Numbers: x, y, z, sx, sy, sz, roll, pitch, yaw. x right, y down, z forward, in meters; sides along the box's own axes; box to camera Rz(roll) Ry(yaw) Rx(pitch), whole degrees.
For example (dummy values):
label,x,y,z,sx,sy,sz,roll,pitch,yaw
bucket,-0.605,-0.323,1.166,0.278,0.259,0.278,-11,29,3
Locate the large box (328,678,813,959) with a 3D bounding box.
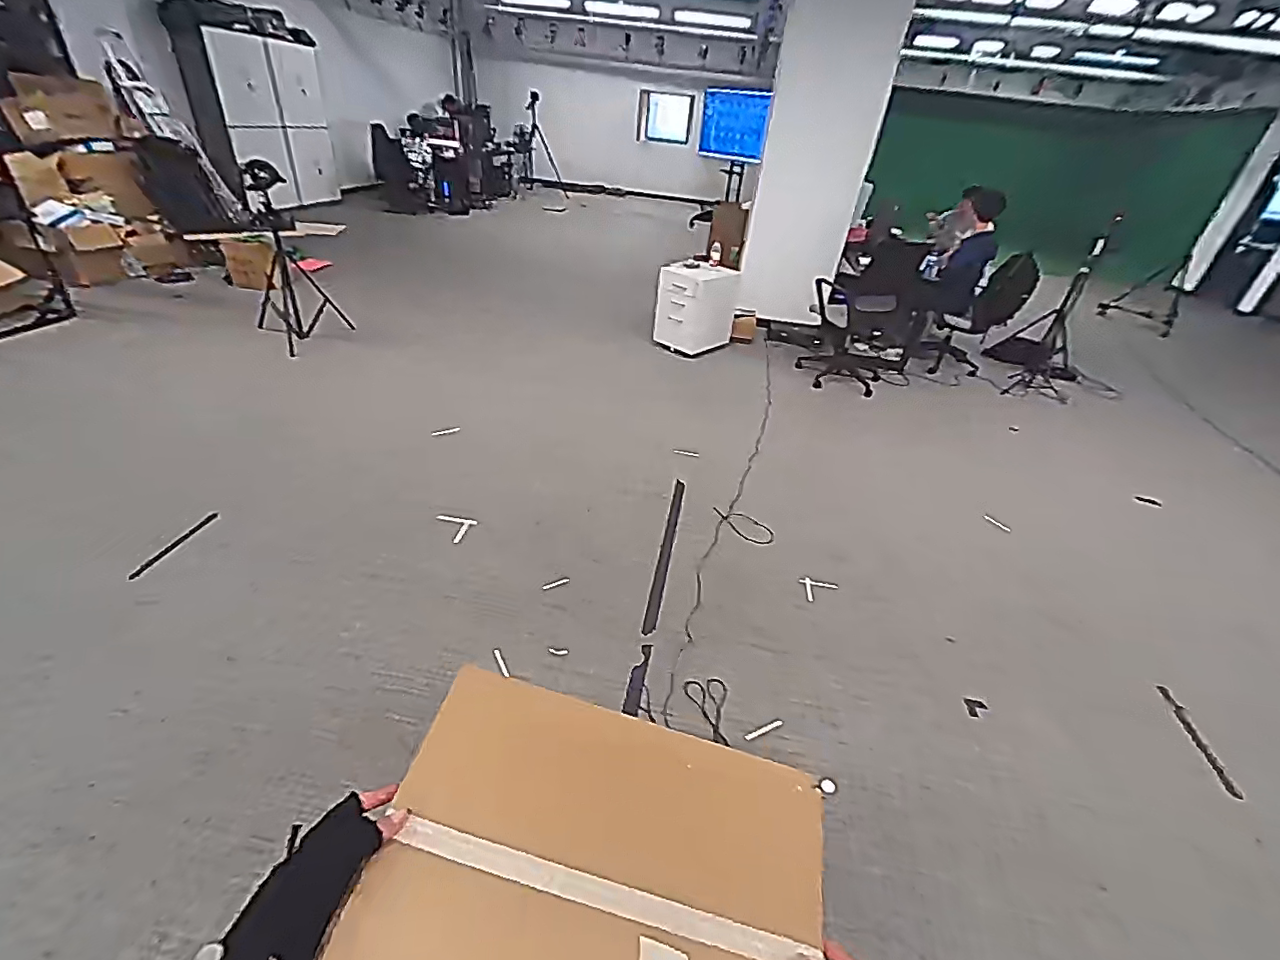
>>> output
label,x,y,z,sx,sy,sz,roll,pitch,yaw
large box,-0.064,0.478,0.591,0.408,0.320,0.320,17,45,3
